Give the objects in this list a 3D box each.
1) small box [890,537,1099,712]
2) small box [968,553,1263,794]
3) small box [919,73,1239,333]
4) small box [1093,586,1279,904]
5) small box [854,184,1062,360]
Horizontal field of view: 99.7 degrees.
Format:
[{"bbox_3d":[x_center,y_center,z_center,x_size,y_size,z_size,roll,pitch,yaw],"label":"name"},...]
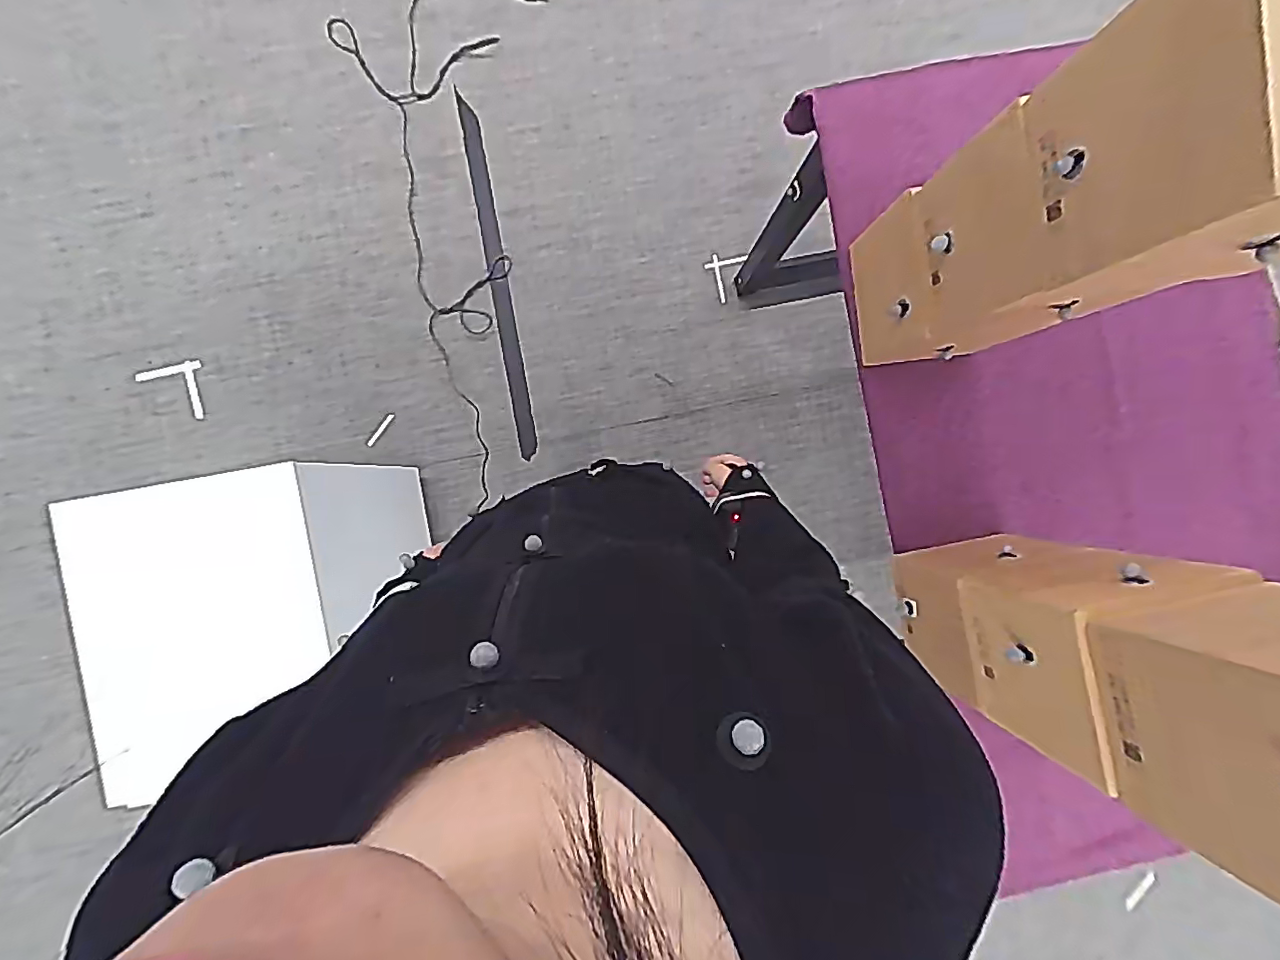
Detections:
[{"bbox_3d":[0.463,0.174,0.708,0.179,0.176,0.168,-11,90,-1],"label":"small box"},{"bbox_3d":[0.465,0.175,0.545,0.179,0.176,0.168,-11,90,-3],"label":"small box"},{"bbox_3d":[0.412,-0.254,0.535,0.179,0.176,0.168,-8,91,-1],"label":"small box"},{"bbox_3d":[0.483,0.182,0.382,0.179,0.176,0.168,-11,90,-3],"label":"small box"},{"bbox_3d":[0.396,-0.258,0.699,0.168,0.176,0.179,-7,91,-2],"label":"small box"}]
